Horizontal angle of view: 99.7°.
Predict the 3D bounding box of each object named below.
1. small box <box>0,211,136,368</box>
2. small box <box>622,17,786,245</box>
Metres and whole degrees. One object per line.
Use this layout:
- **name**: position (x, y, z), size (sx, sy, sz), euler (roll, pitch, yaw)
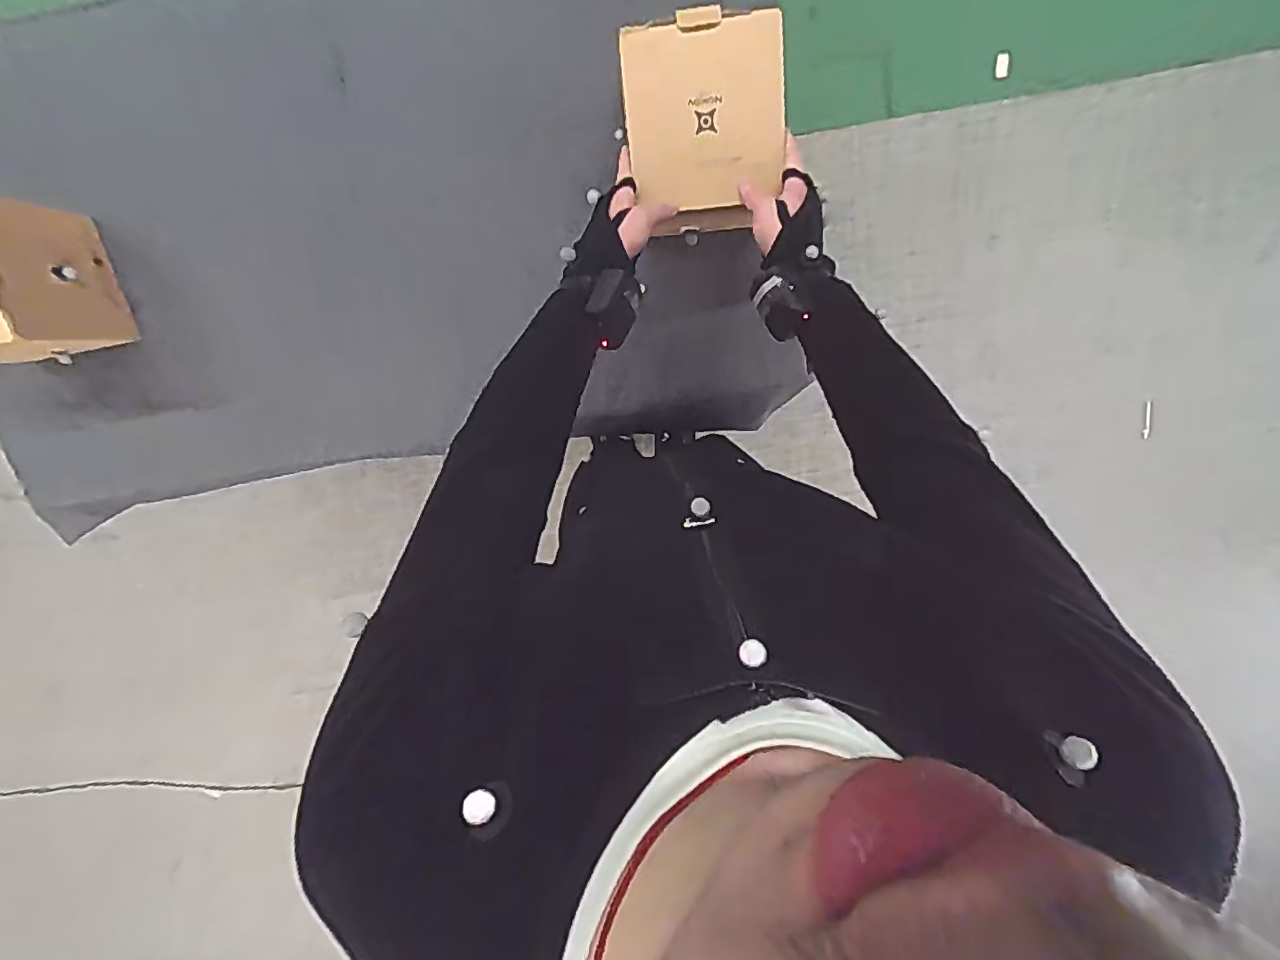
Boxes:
- **small box**: position (-0.806, -0.236, 0.688), size (0.179, 0.176, 0.168), euler (-10, 105, 2)
- **small box**: position (0.068, -0.385, 0.628), size (0.168, 0.176, 0.179), euler (-3, 106, 3)
